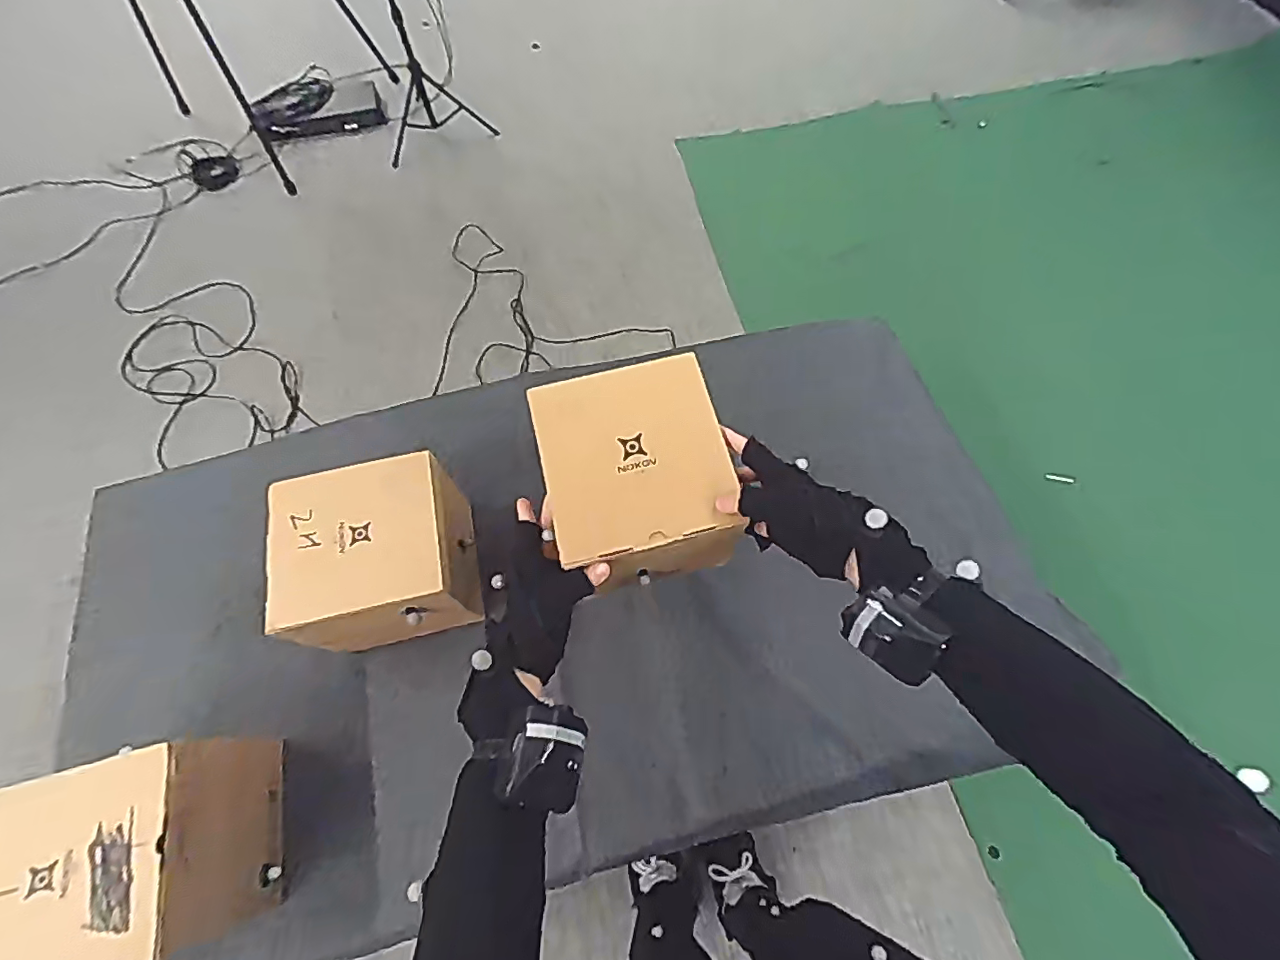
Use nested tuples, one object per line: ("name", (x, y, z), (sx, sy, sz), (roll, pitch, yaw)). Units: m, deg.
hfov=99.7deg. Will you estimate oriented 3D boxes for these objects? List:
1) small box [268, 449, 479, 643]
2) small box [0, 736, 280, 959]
("small box", (-0.297, 0.085, 0.639), (0.179, 0.176, 0.168), (-12, 67, -6))
("small box", (-0.478, 0.353, 0.517), (0.179, 0.176, 0.168), (-14, 66, -6))
